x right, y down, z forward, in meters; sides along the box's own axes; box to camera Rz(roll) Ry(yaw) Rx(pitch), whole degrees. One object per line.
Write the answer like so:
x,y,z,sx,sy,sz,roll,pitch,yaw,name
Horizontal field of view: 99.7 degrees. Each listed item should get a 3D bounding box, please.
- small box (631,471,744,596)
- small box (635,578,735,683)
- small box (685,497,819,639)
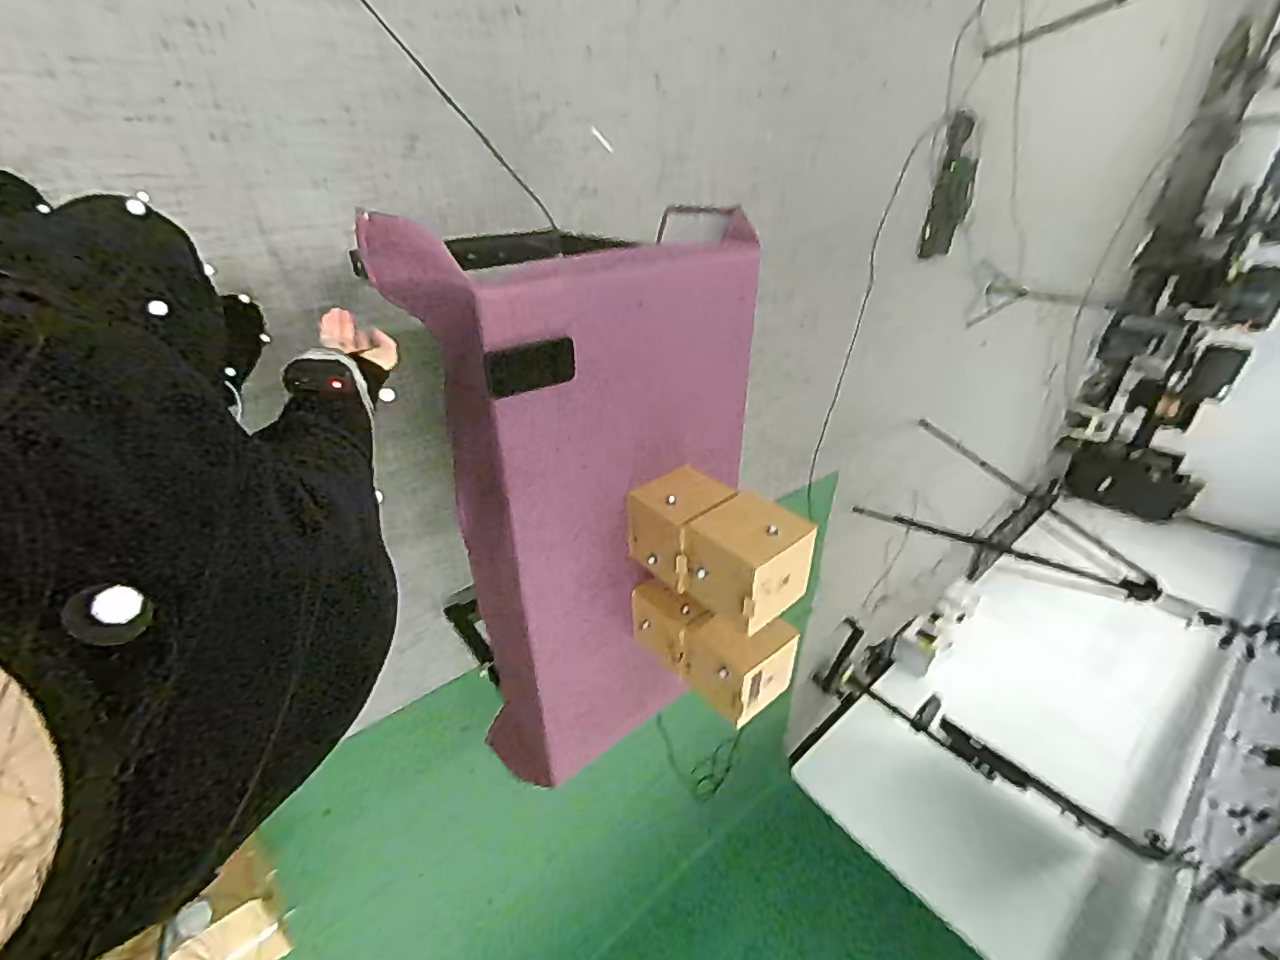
0.094,0.104,1.132,0.179,0.176,0.168,-24,128,-32,small box
0.107,0.328,1.272,0.179,0.176,0.168,-23,127,-32,small box
0.206,0.155,1.021,0.179,0.176,0.168,-24,128,-32,small box
